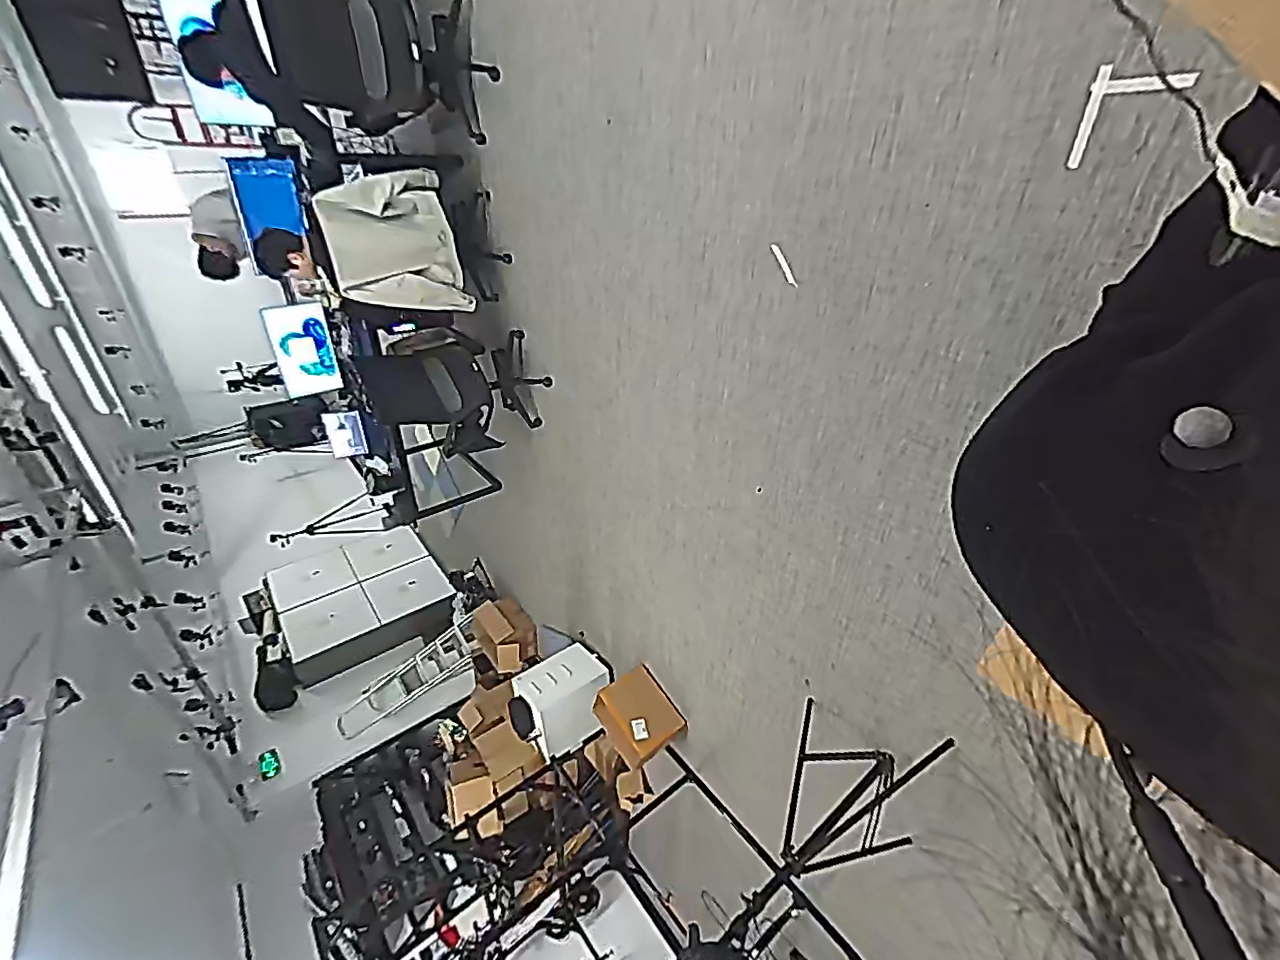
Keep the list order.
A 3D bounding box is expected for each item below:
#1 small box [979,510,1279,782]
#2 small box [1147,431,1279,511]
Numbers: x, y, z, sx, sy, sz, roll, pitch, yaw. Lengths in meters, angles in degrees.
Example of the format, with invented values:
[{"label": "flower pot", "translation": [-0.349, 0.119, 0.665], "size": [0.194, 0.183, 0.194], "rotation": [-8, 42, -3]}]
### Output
[{"label": "small box", "translation": [0.505, 0.159, 0.565], "size": [0.168, 0.176, 0.179], "rotation": [37, 138, 40]}, {"label": "small box", "translation": [0.760, 0.055, 0.738], "size": [0.168, 0.176, 0.179], "rotation": [39, 137, 37]}]
